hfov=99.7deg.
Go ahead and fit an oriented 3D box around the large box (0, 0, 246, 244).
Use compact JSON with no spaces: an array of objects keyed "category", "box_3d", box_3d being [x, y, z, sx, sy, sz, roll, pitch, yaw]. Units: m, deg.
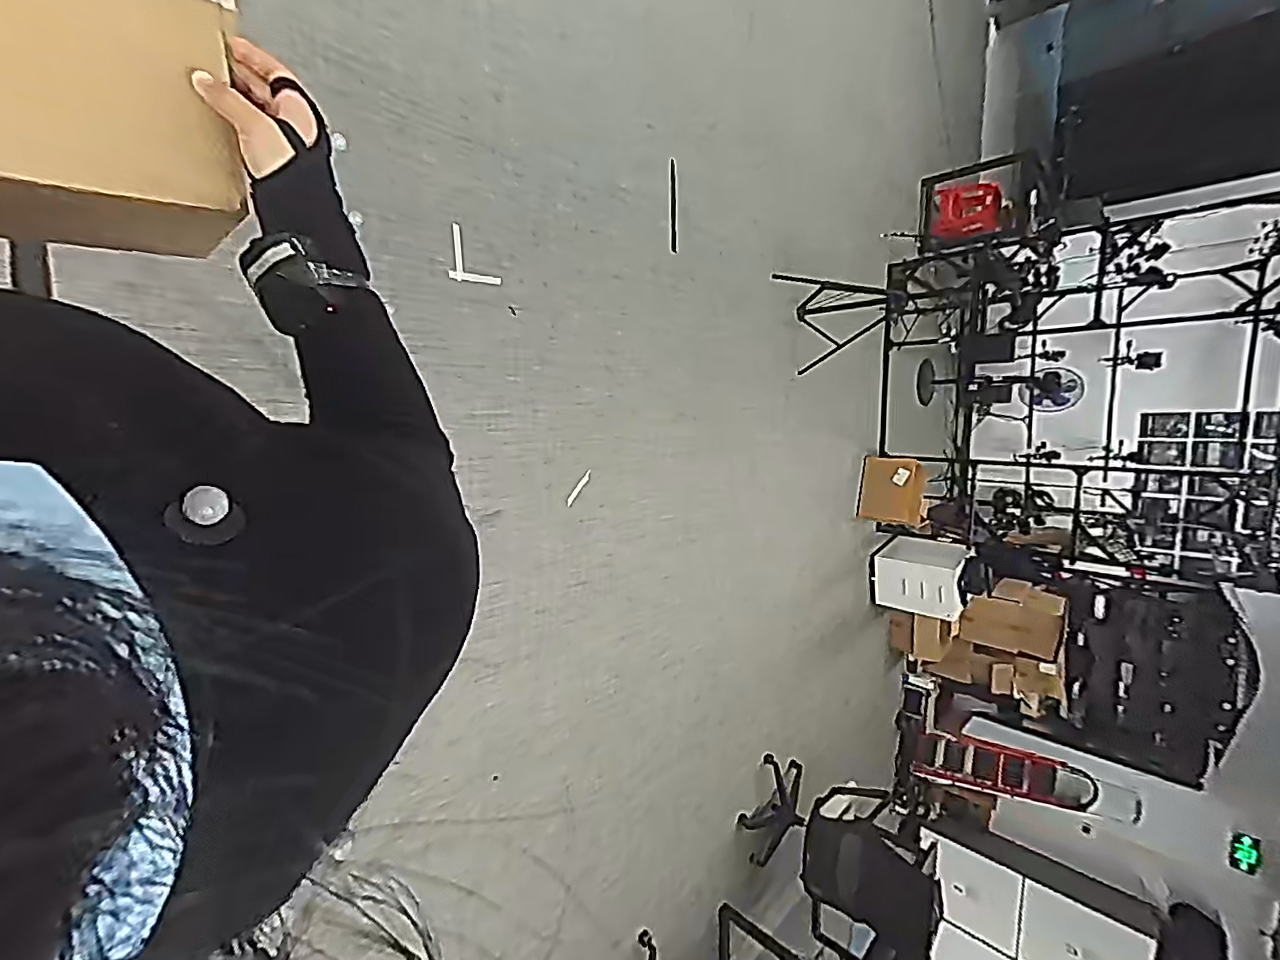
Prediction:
[{"category":"large box","box_3d":[-0.572,-0.374,0.392,0.408,0.320,0.320,-11,107,-41]}]
